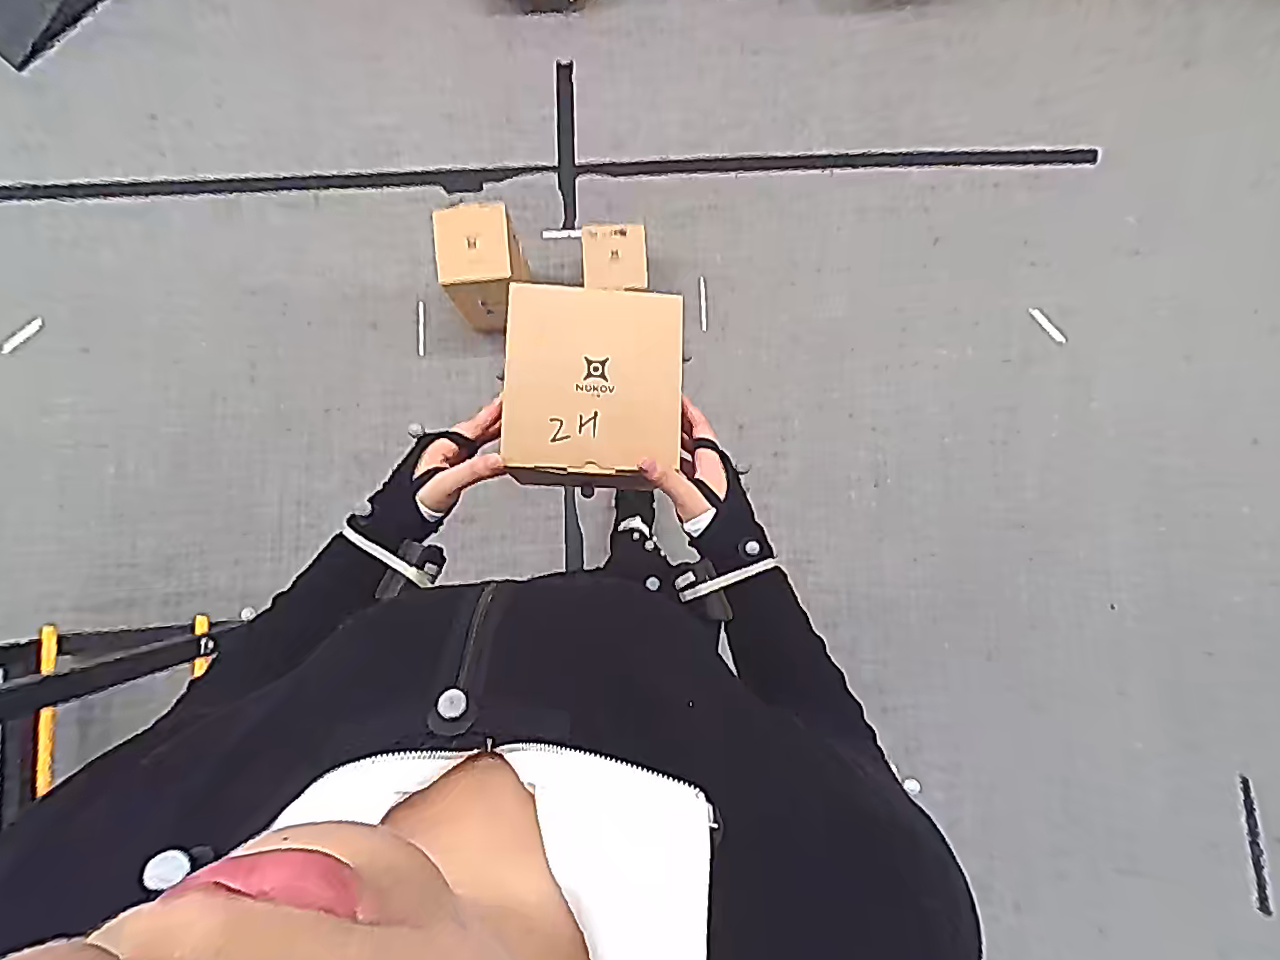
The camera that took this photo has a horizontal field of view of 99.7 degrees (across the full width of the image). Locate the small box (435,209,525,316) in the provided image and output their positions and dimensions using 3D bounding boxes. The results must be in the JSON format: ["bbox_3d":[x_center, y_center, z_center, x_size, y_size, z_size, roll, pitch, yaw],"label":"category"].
[{"bbox_3d":[-0.375,-0.515,1.298,0.168,0.176,0.179,-7,87,-1],"label":"small box"}]

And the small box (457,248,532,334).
[{"bbox_3d":[-0.384,-0.504,1.460,0.179,0.176,0.168,-4,85,-2],"label":"small box"}]

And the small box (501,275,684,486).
[{"bbox_3d":[-0.050,-0.093,0.582,0.168,0.176,0.179,2,83,-5],"label":"small box"}]

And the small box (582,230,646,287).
[{"bbox_3d":[-0.068,-0.554,1.476,0.168,0.176,0.179,-3,86,-2],"label":"small box"}]
